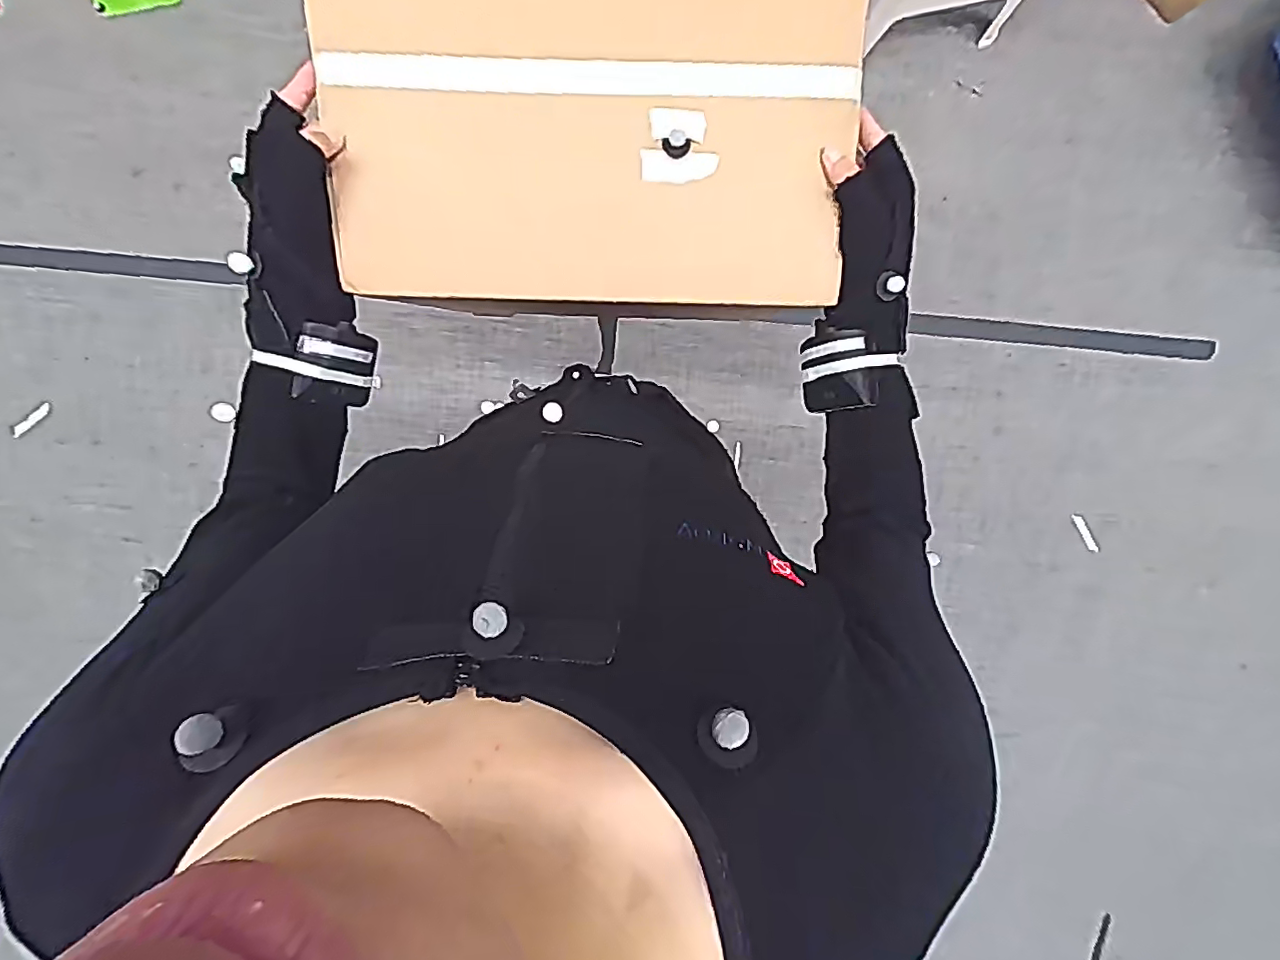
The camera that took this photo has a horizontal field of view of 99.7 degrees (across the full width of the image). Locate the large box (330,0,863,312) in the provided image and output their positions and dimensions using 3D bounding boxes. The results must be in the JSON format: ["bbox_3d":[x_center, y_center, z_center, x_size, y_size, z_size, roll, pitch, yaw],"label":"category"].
[{"bbox_3d":[-0.037,-0.345,0.557,0.408,0.320,0.320,1,105,-1],"label":"large box"}]
